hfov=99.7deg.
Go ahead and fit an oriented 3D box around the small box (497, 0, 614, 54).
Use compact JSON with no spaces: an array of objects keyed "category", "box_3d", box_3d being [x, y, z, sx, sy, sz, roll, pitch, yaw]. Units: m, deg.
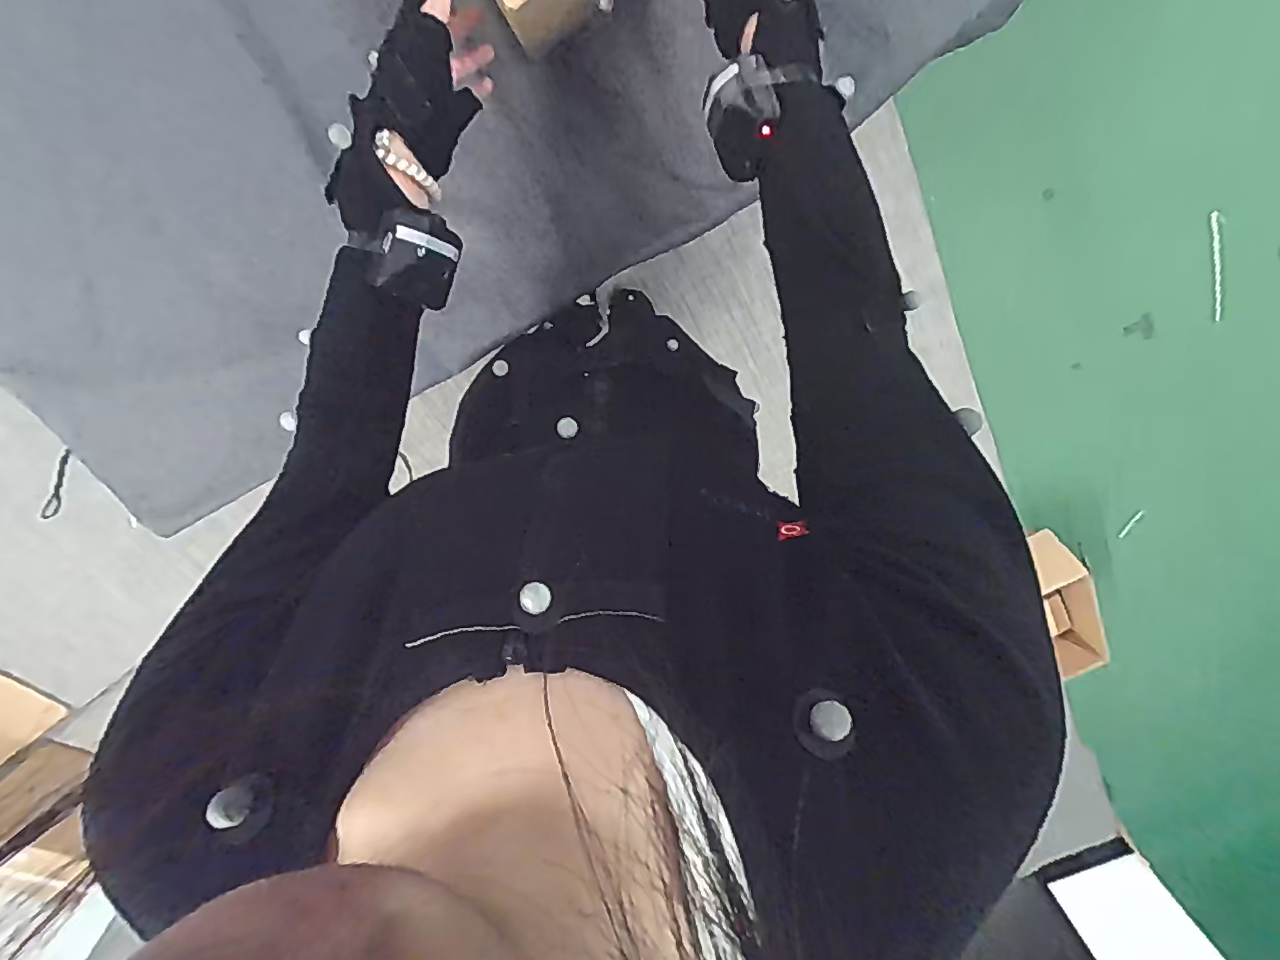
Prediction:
[{"category":"small box","box_3d":[-0.078,-0.485,0.417,0.168,0.176,0.179,-32,115,12]}]
